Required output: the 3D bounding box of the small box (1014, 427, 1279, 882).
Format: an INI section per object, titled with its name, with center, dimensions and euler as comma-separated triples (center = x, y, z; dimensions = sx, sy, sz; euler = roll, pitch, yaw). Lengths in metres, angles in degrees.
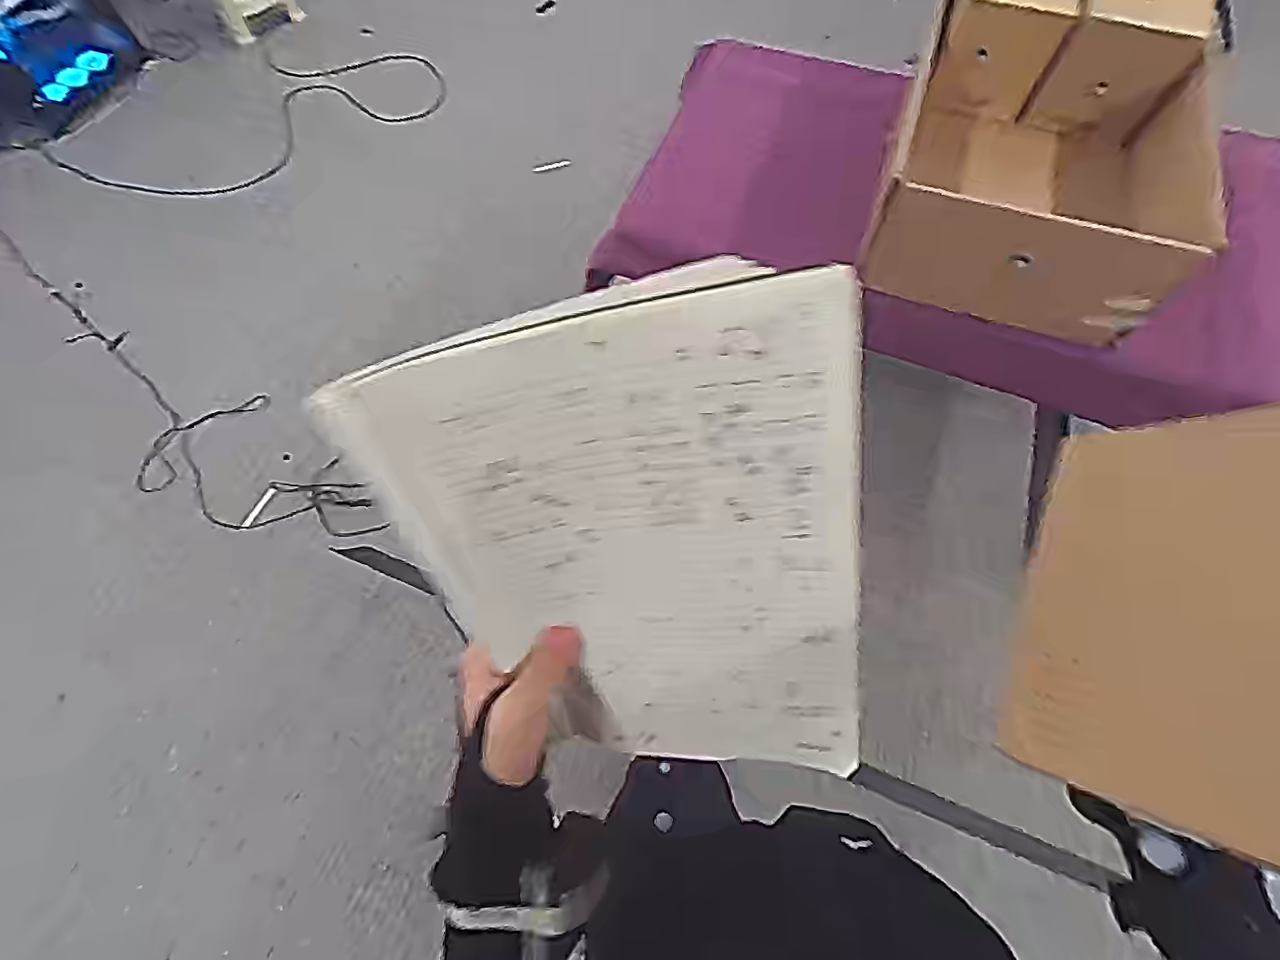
[small box]
center = 0.301, 0.083, 0.225
dimensions = 0.168, 0.176, 0.179
euler = 26, 78, -14
